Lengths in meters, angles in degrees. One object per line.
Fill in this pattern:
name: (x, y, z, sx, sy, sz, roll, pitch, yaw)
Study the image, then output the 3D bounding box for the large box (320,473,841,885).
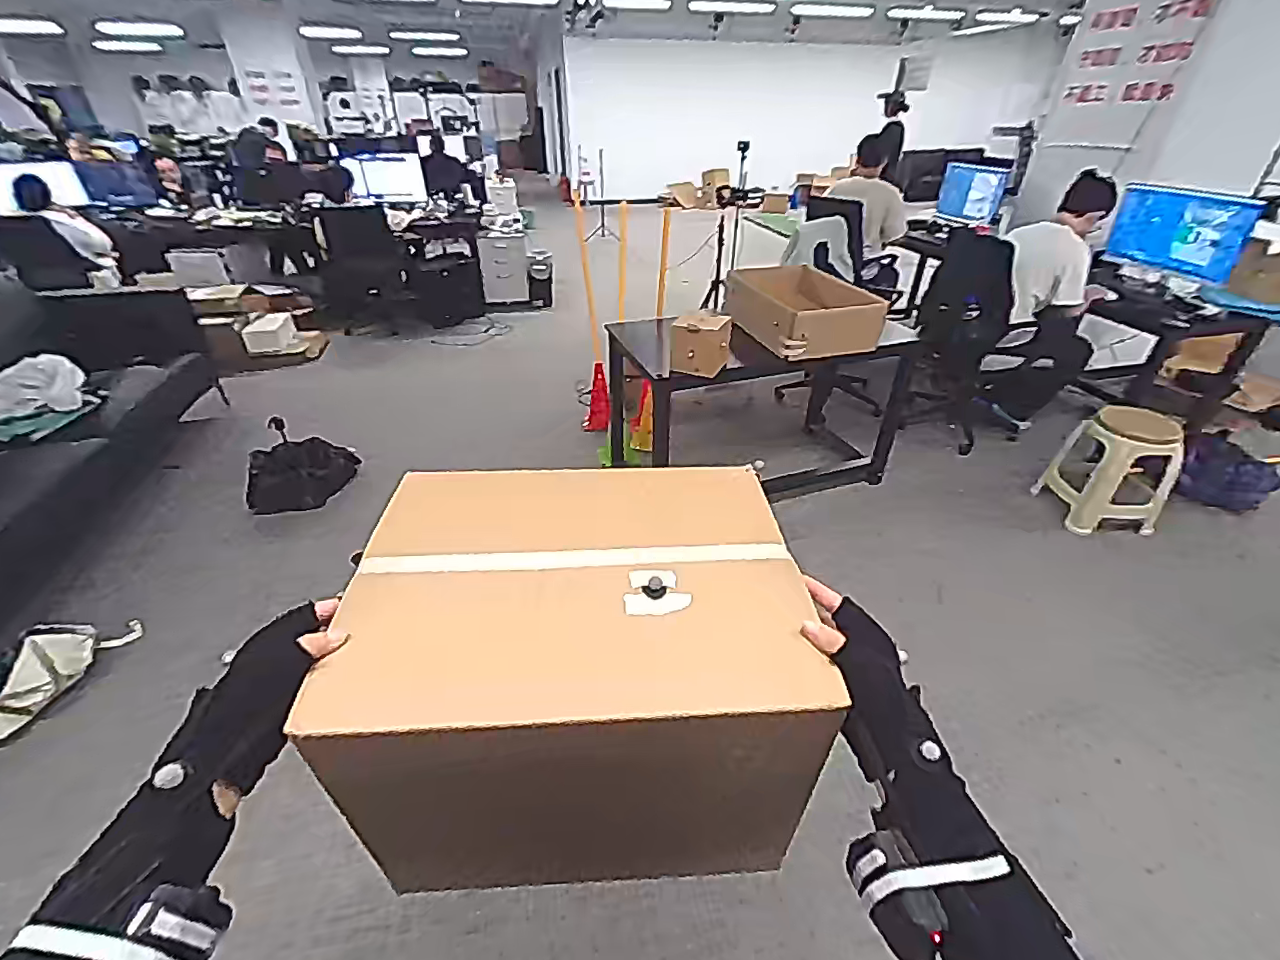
large box: (-0.055, 0.206, 0.611, 0.408, 0.320, 0.320, -1, 36, -5)
